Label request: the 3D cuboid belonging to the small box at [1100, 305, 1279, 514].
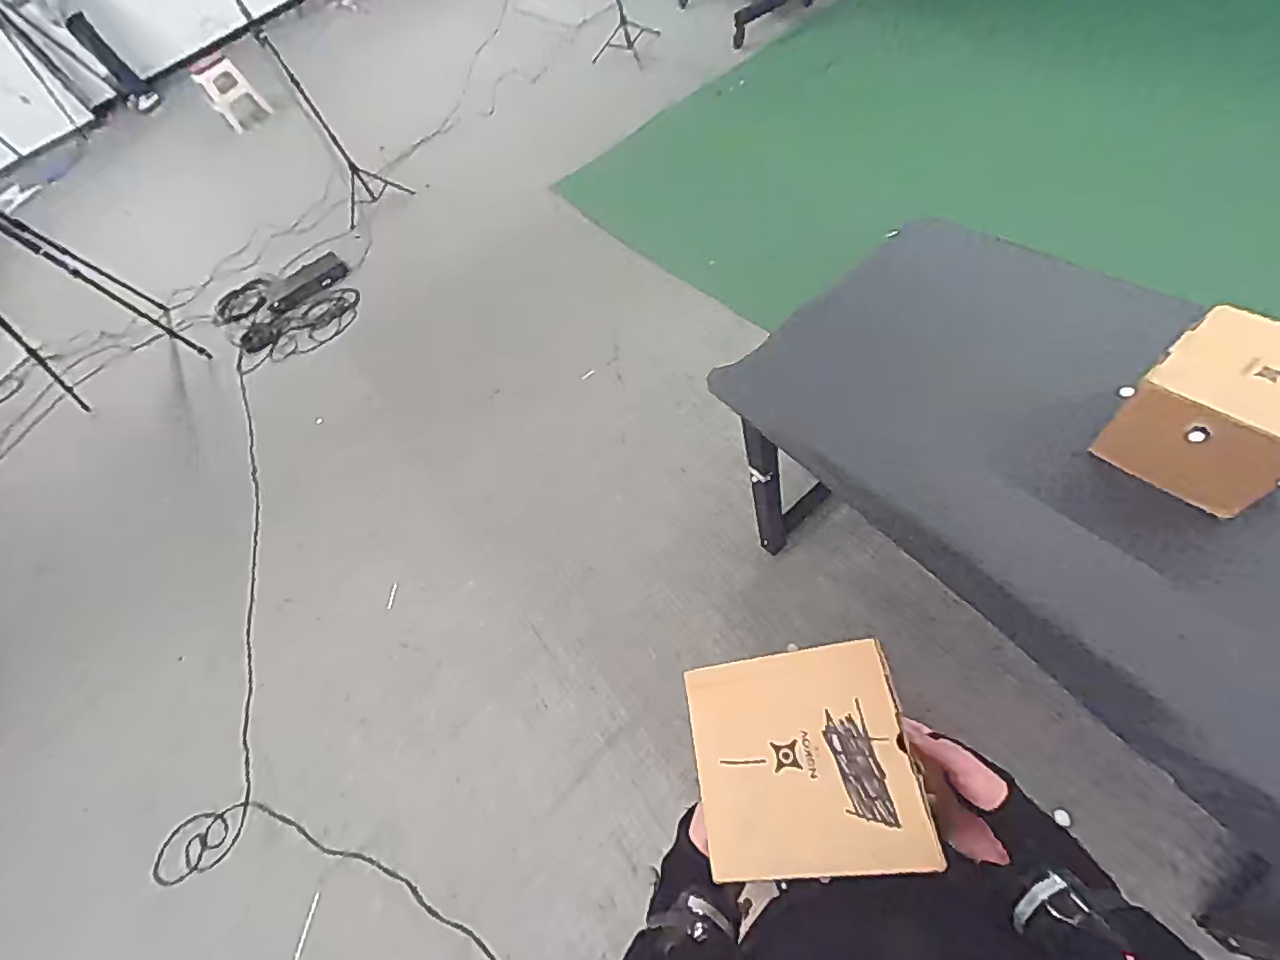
[{"bbox_3d":[0.766,-0.086,0.706,0.168,0.176,0.179,-41,58,-9],"label":"small box"}]
